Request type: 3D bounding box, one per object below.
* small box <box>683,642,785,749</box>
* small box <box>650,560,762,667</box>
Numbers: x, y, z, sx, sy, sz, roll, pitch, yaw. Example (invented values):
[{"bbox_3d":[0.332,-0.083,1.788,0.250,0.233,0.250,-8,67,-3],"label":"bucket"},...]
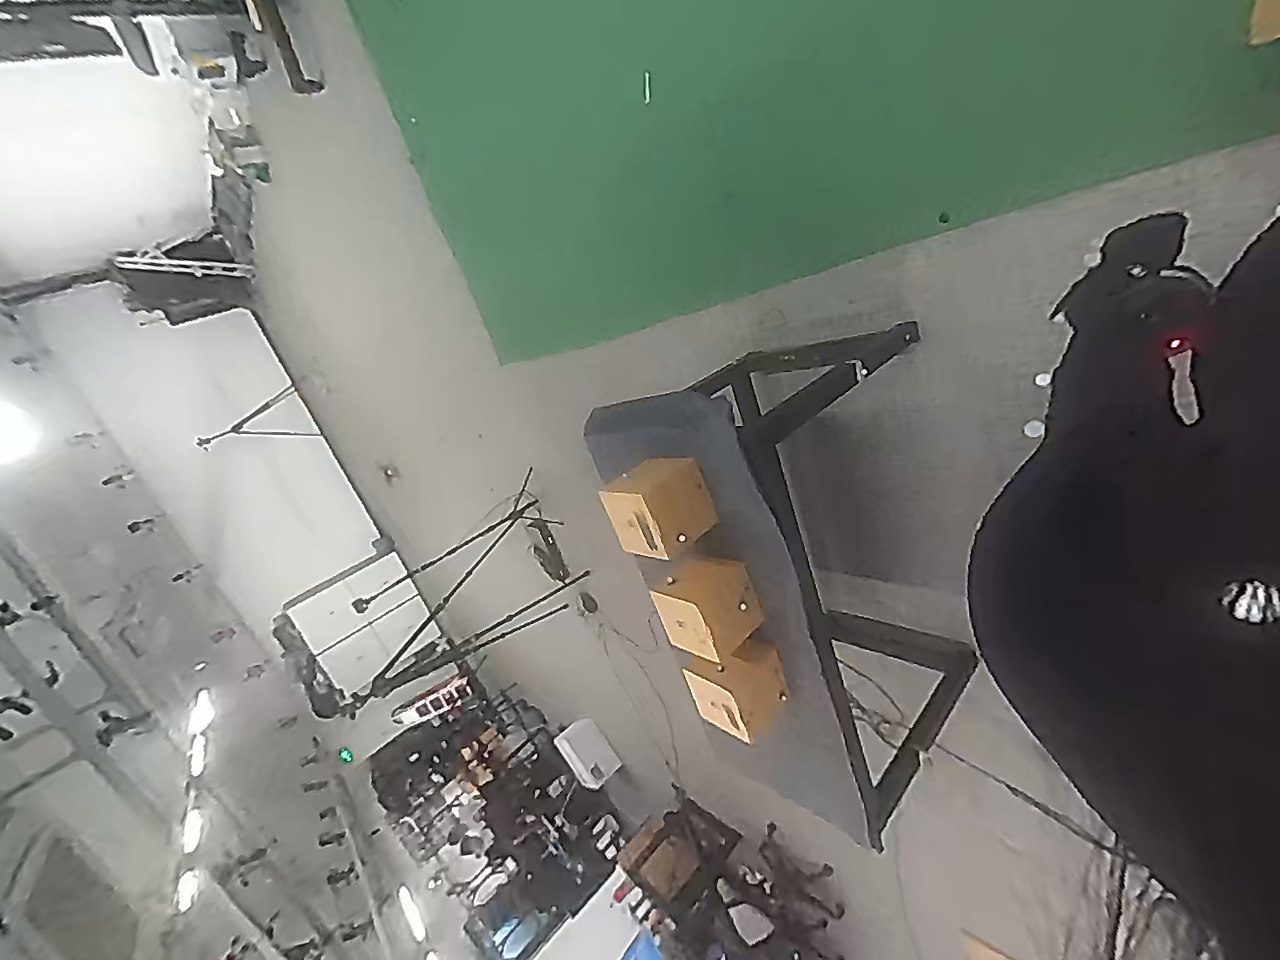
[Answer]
[{"bbox_3d":[0.244,0.524,1.359,0.179,0.176,0.168,4,119,53],"label":"small box"},{"bbox_3d":[0.159,0.308,1.288,0.179,0.176,0.168,1,118,53],"label":"small box"}]
